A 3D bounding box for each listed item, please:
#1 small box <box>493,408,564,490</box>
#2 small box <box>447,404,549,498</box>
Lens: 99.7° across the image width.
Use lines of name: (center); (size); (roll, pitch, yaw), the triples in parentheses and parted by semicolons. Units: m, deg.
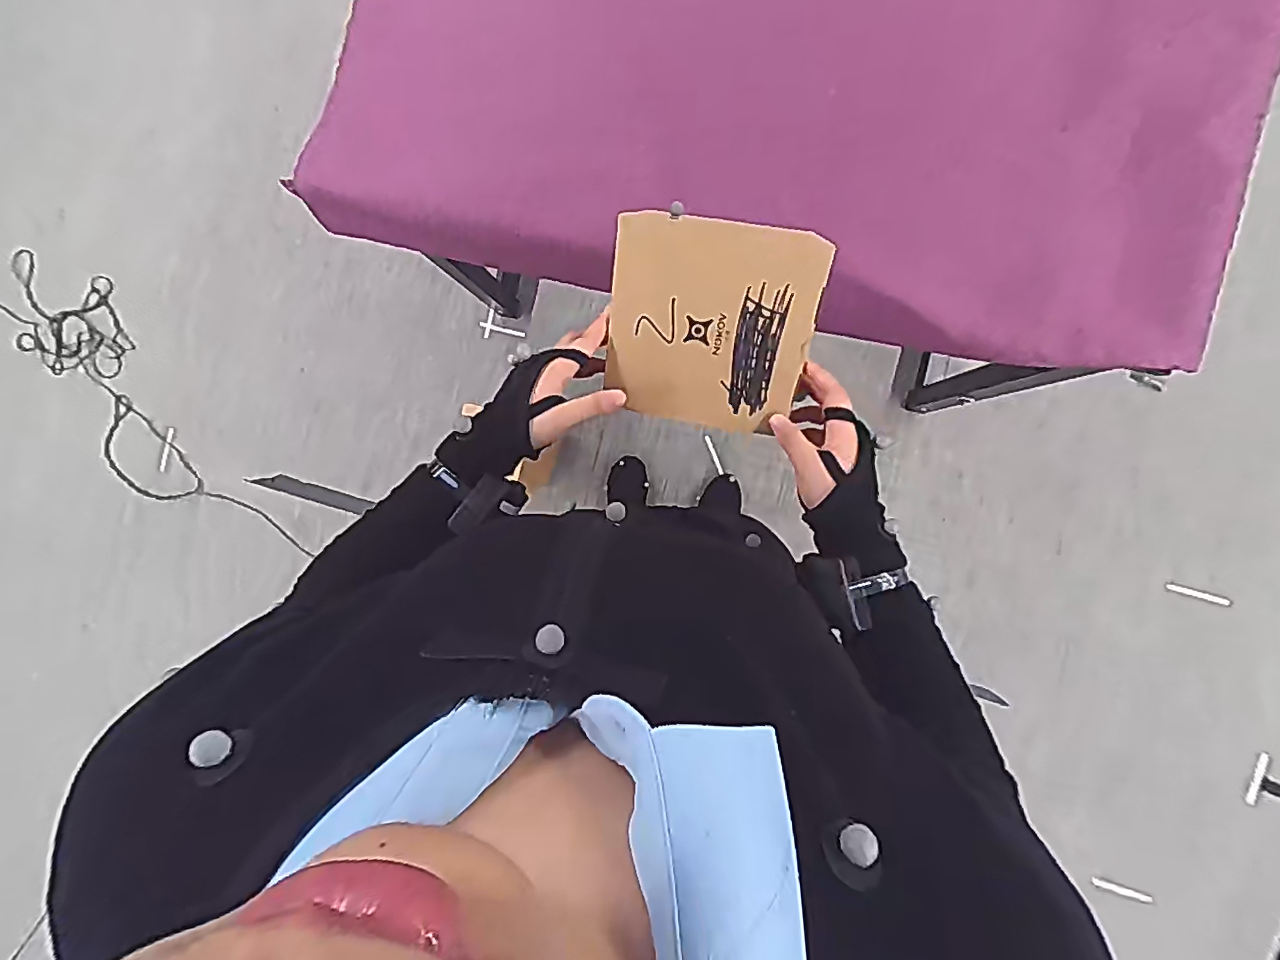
small box: (-0.318, -0.075, 1.445); (0.168, 0.176, 0.179); (21, 93, 4)
small box: (-0.325, -0.067, 1.280); (0.168, 0.176, 0.179); (16, 93, 4)
